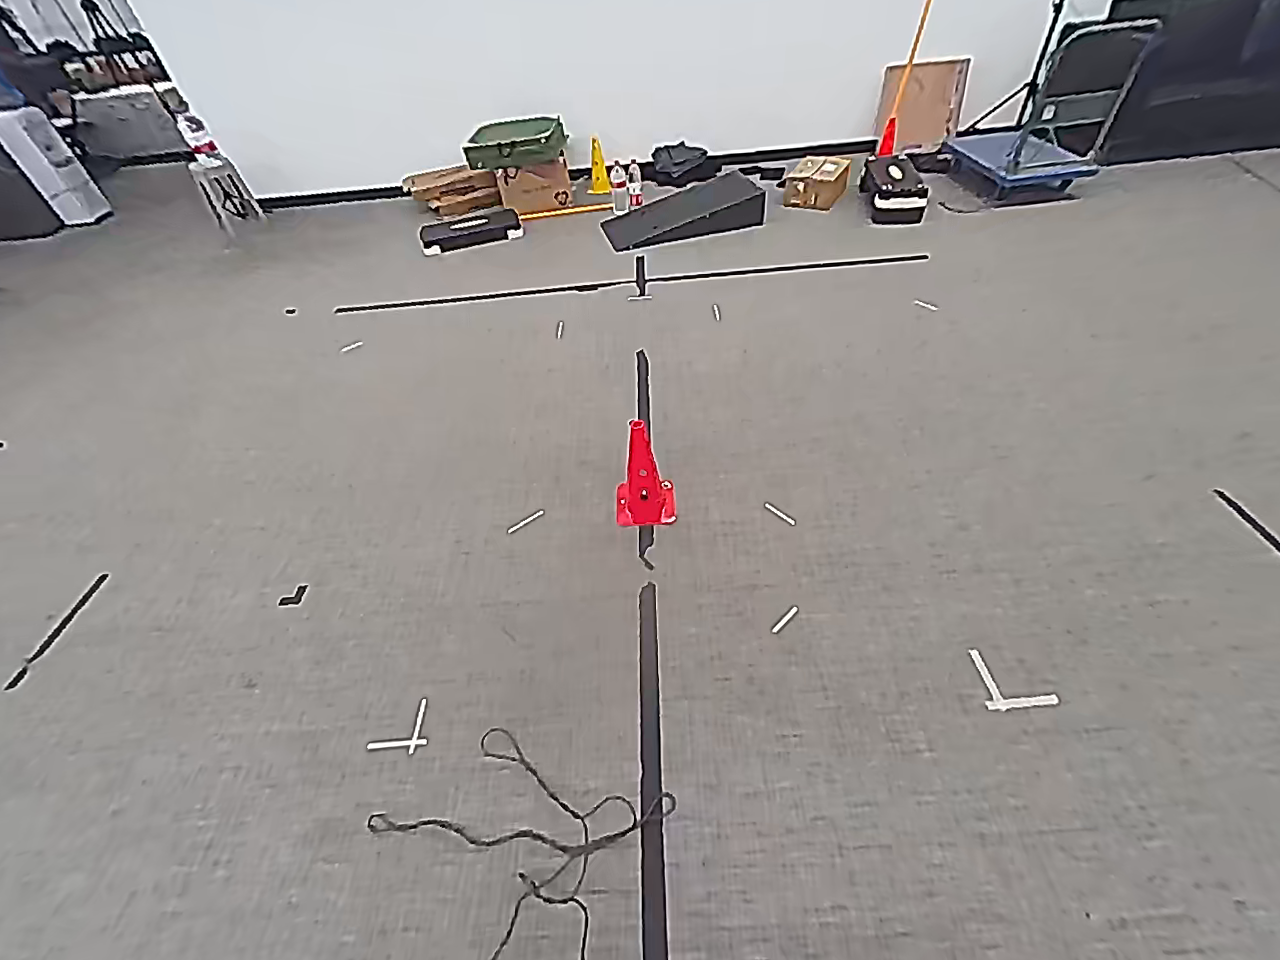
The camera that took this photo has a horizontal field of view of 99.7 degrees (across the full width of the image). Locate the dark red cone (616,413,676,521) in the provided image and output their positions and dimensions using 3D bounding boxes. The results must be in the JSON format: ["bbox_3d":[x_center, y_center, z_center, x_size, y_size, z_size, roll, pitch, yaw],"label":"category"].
[{"bbox_3d":[0.002,-0.054,1.731,0.201,0.394,0.202,-5,46,3],"label":"dark red cone"}]
